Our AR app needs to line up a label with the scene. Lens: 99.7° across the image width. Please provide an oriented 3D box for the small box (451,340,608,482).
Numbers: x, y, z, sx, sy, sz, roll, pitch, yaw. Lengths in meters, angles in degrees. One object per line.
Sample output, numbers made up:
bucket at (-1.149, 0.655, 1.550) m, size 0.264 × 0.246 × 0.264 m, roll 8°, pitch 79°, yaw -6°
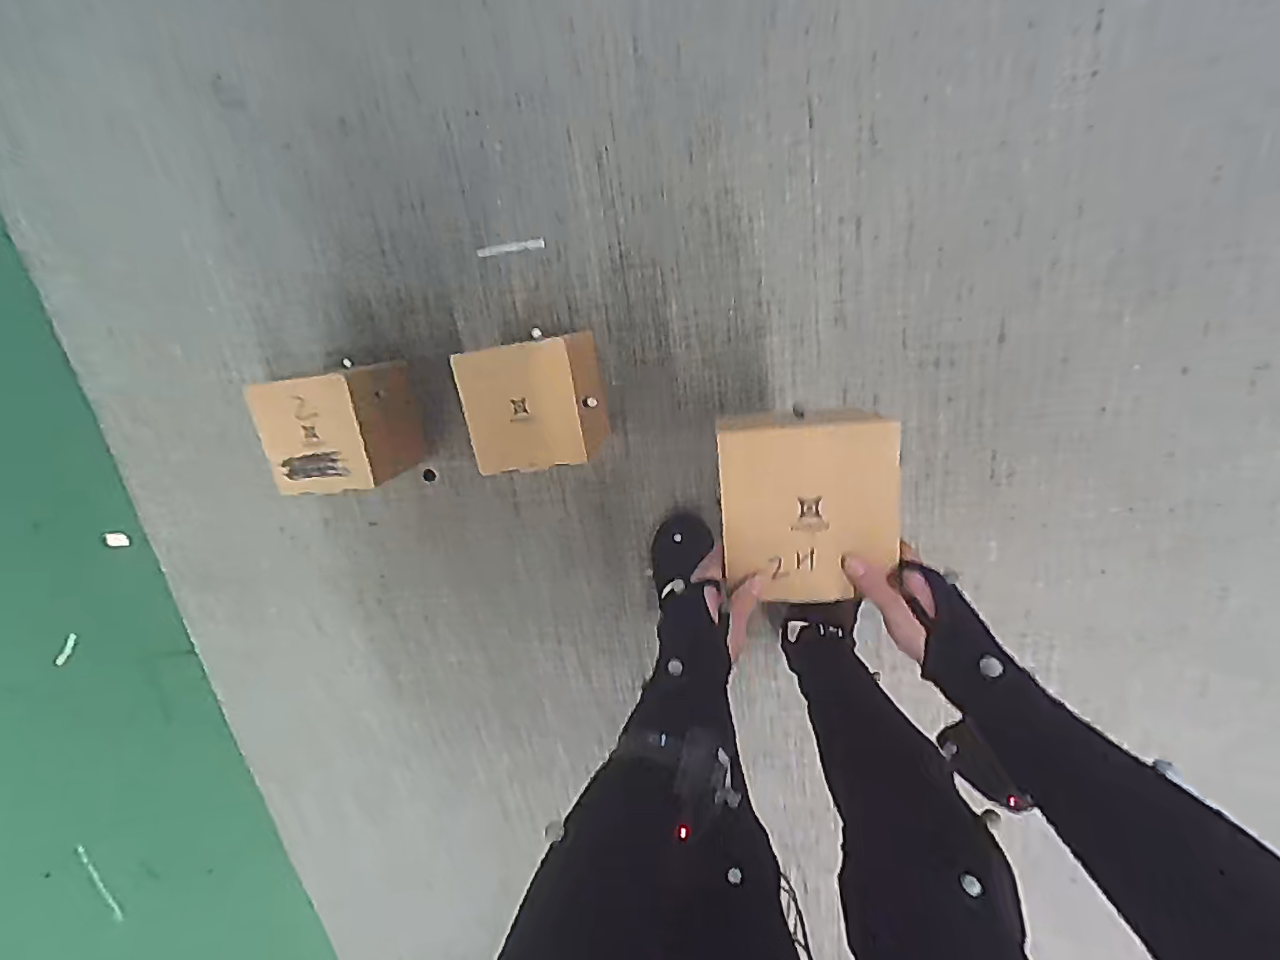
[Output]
small box at (-0.155, -0.113, 0.823) m, size 0.168 × 0.176 × 0.179 m, roll -7°, pitch 109°, yaw 11°

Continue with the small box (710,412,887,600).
small box at (0.165, 0.018, 0.601) m, size 0.168 × 0.176 × 0.179 m, roll -4°, pitch 101°, yaw 10°
